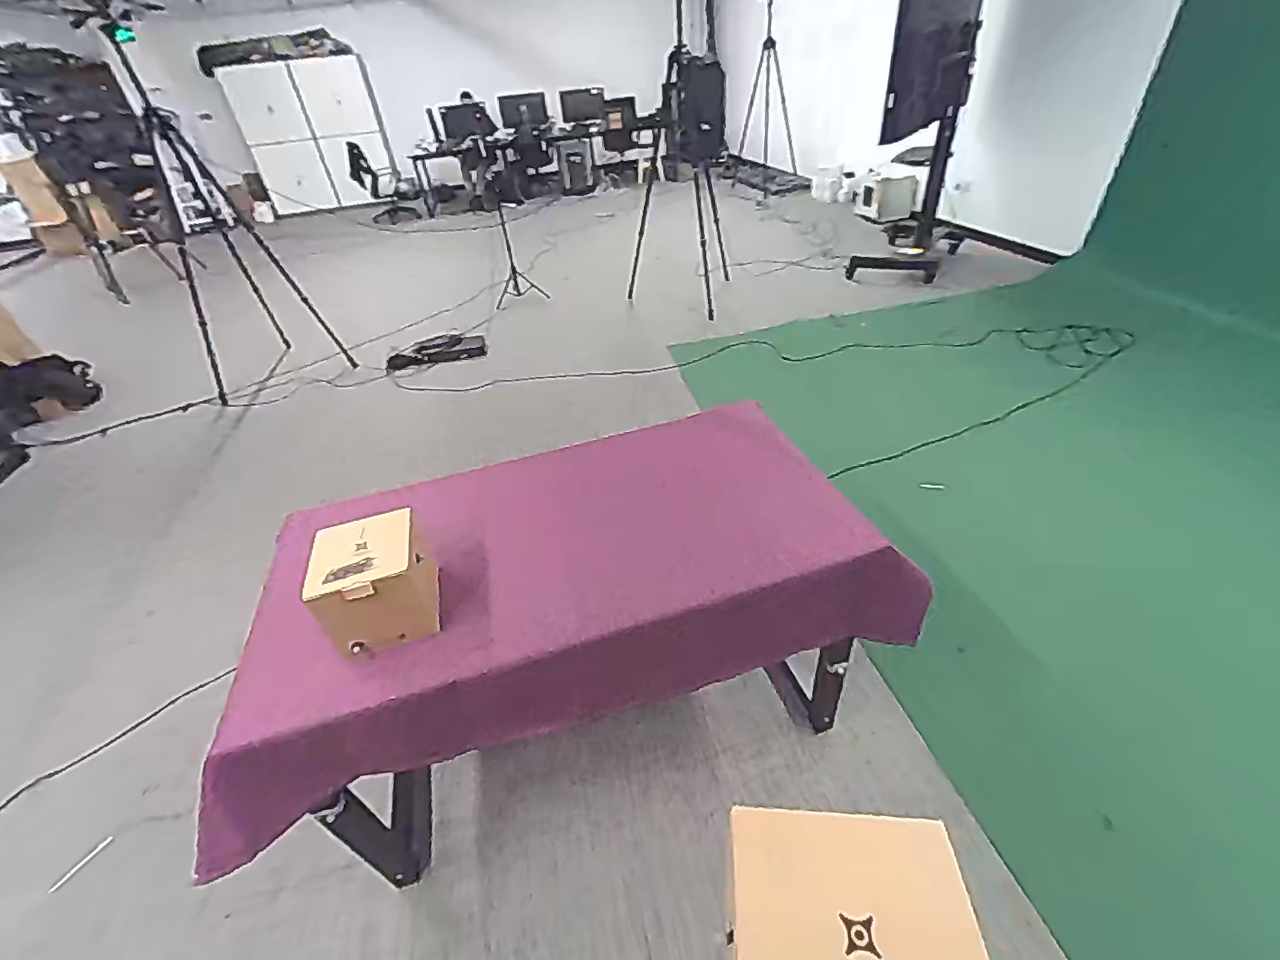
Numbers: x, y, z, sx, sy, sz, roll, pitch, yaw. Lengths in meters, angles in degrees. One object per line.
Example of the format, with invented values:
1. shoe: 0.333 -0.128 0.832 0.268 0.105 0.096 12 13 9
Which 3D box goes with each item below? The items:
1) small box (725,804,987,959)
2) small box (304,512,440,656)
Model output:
1. small box: 0.152 0.381 0.411 0.168 0.176 0.179 -1 36 6
2. small box: -0.469 0.192 0.976 0.168 0.176 0.179 -15 38 -11
